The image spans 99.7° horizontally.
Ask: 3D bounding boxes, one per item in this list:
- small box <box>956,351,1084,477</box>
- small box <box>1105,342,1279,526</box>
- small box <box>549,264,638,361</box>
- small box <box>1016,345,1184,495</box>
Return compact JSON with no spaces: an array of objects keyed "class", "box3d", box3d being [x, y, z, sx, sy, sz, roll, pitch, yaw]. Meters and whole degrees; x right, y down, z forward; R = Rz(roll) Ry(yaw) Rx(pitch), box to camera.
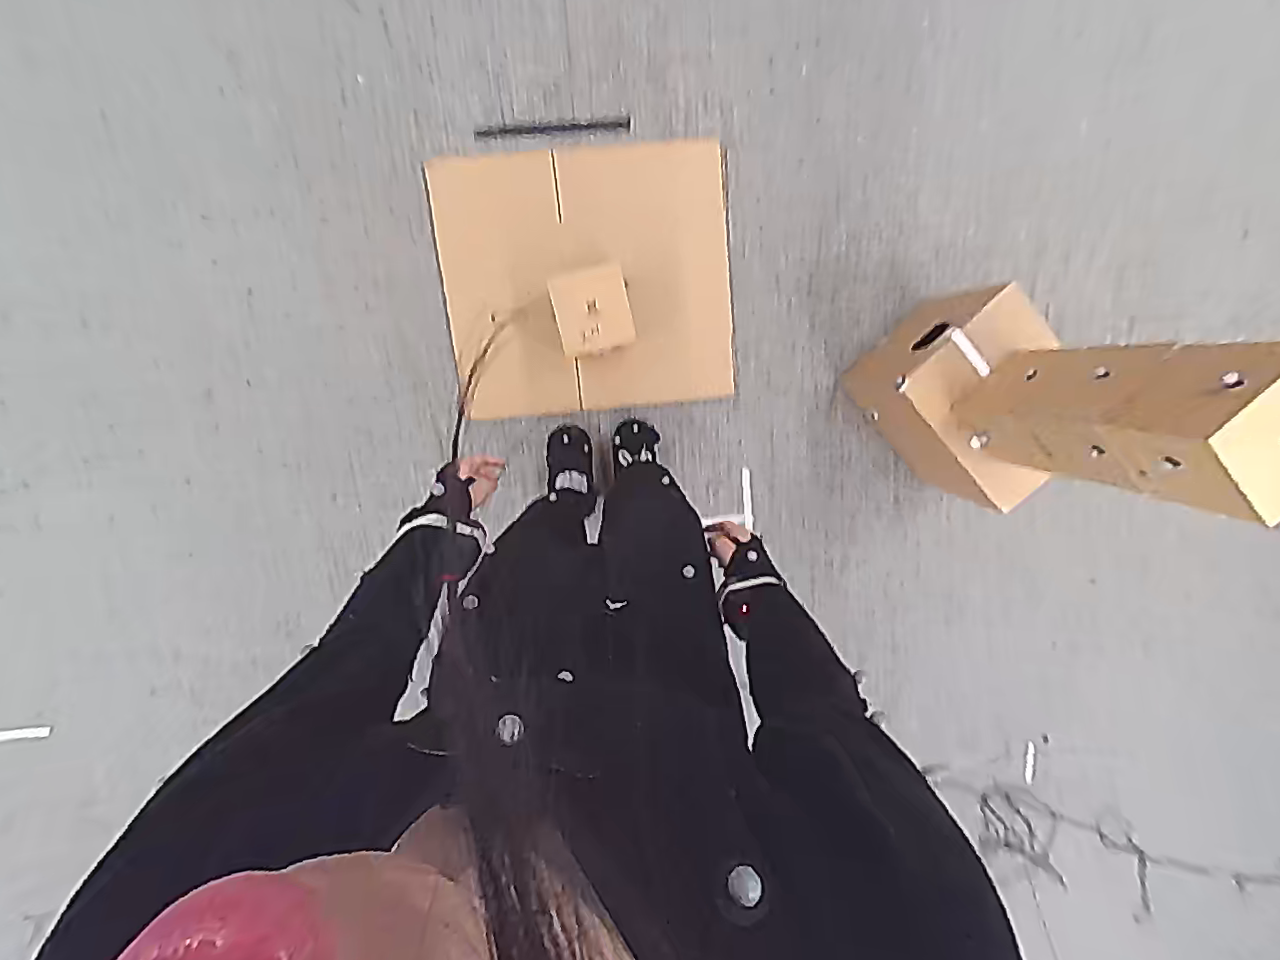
[{"class":"small box","box3d":[0.780,-0.135,1.069,0.179,0.176,0.168,-44,101,6]},{"class":"small box","box3d":[0.806,-0.069,0.750,0.179,0.176,0.168,-45,101,5]},{"class":"small box","box3d":[-0.104,-0.382,1.261,0.168,0.176,0.179,-13,102,1]},{"class":"small box","box3d":[0.794,-0.105,0.908,0.179,0.176,0.168,-44,101,4]}]
